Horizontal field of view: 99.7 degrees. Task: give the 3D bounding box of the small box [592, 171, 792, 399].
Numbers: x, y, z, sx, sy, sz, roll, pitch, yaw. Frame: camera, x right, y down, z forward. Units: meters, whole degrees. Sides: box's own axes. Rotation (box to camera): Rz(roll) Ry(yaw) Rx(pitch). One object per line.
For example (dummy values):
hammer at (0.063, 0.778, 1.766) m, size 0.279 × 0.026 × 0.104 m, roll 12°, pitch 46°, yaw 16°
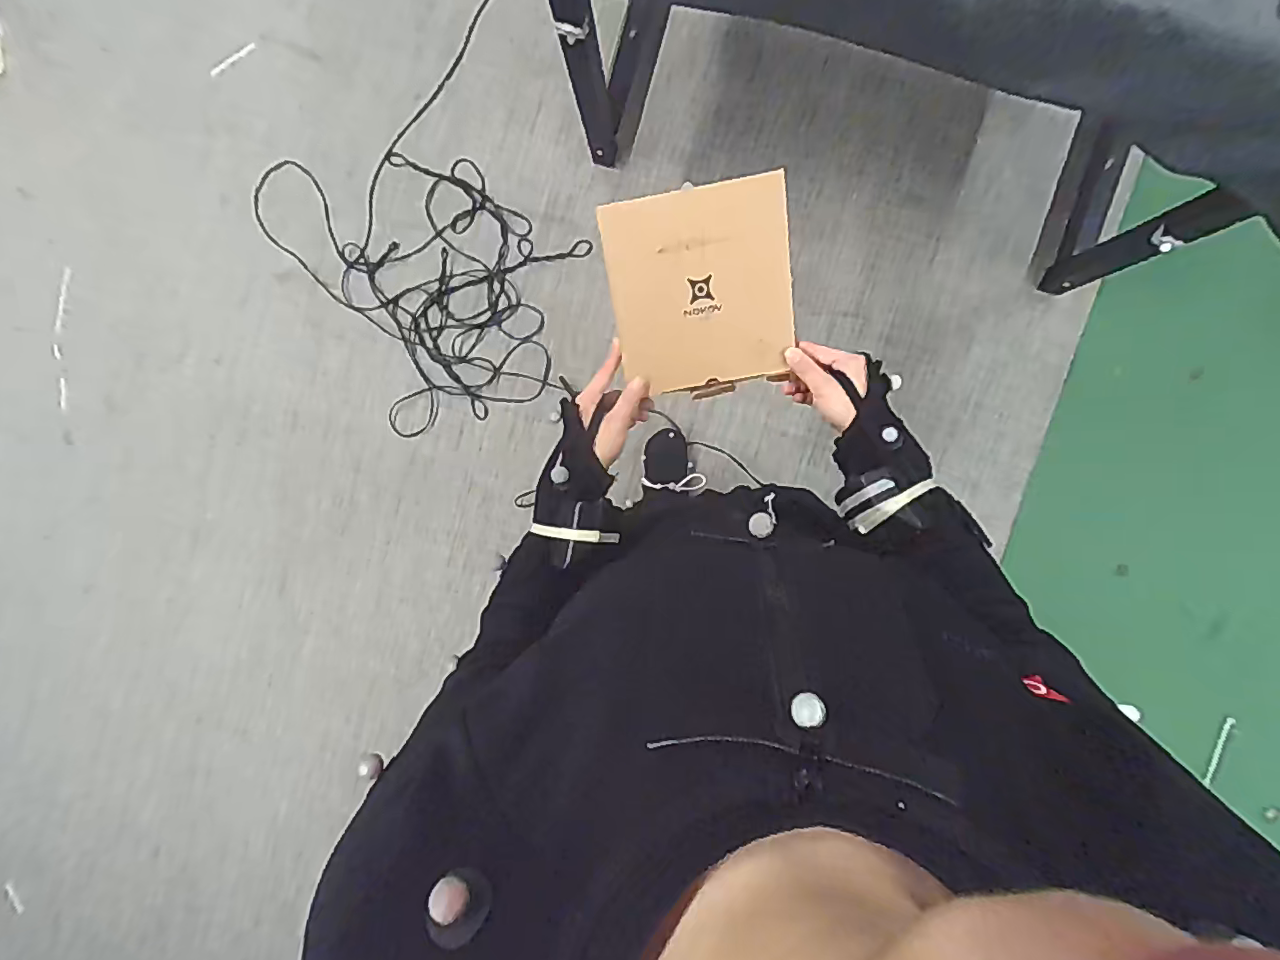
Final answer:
small box at (0.052, -0.199, 0.565) m, size 0.168 × 0.176 × 0.179 m, roll -10°, pitch 110°, yaw 3°
